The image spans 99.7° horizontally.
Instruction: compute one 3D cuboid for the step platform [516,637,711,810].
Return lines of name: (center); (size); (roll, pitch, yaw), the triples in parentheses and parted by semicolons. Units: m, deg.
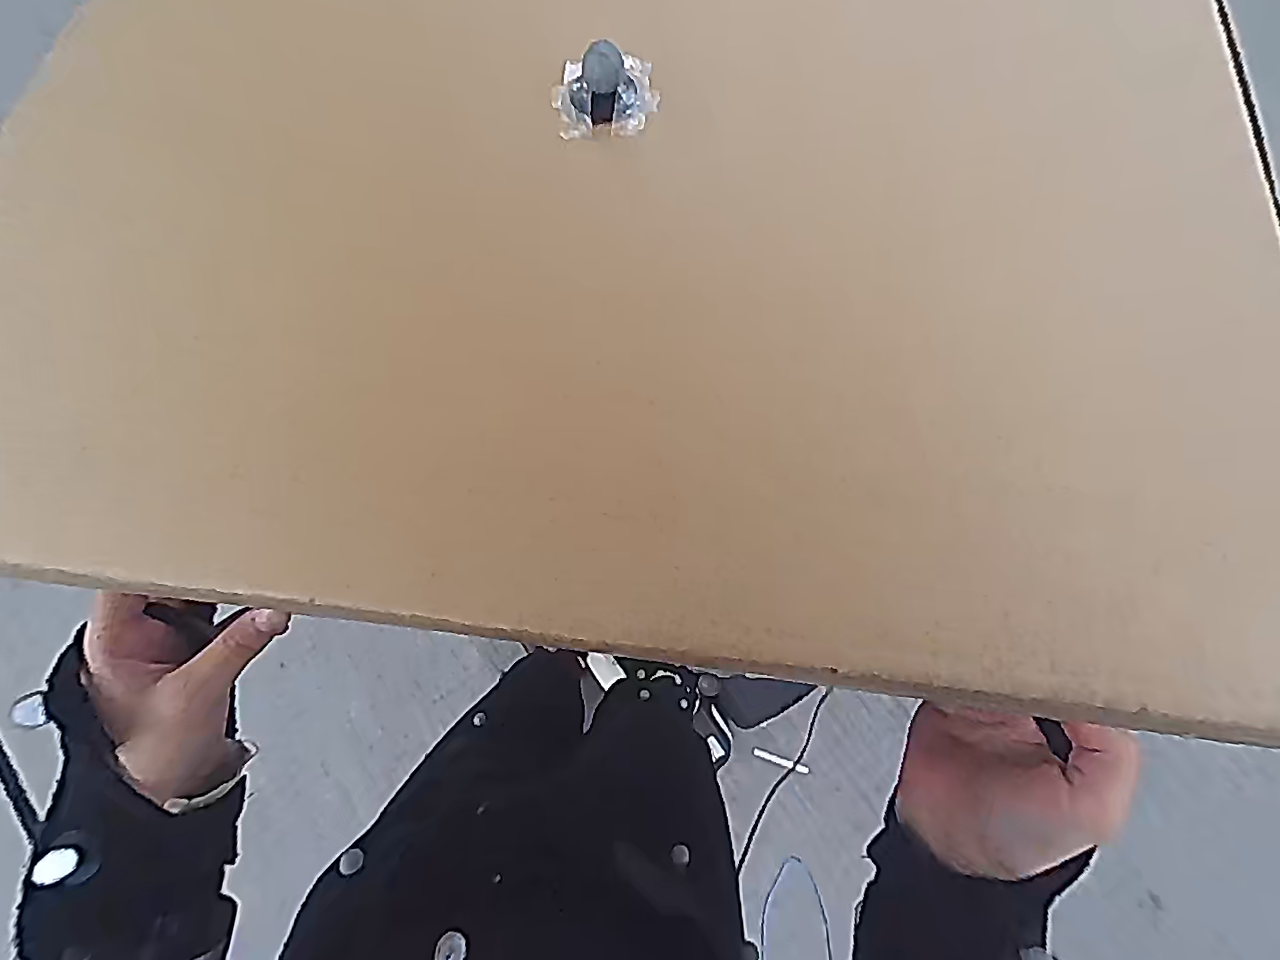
step platform: (-0.105, 0.392, 1.285); (0.286, 0.204, 0.684); (-29, 83, 1)
